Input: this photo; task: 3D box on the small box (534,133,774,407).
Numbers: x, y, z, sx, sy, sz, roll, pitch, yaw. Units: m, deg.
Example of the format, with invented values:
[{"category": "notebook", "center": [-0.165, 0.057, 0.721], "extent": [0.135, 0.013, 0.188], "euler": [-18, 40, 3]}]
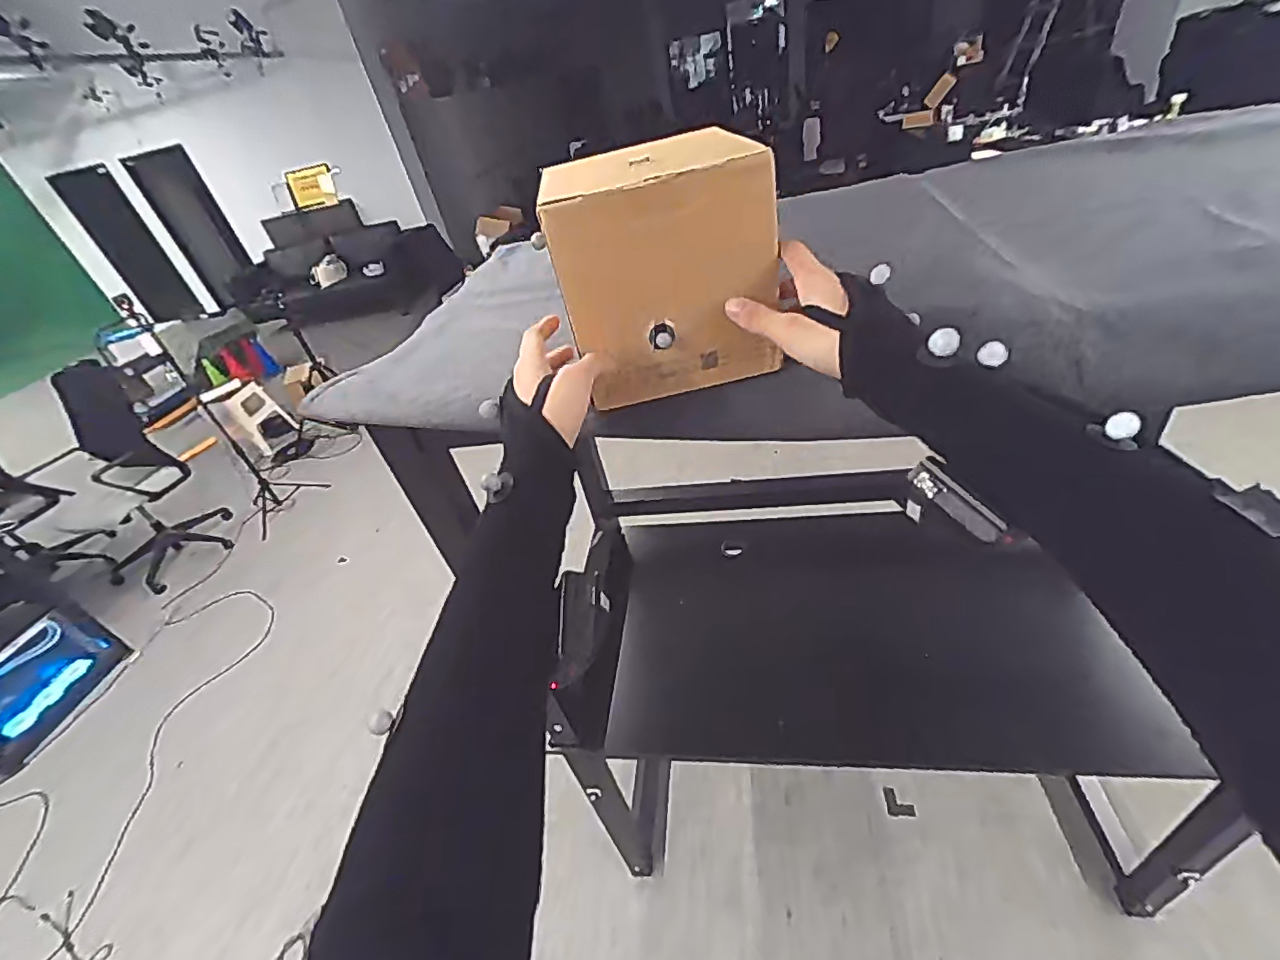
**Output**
[{"category": "small box", "center": [0.013, -0.187, 0.478], "extent": [0.168, 0.176, 0.179], "euler": [-13, 38, 2]}]
